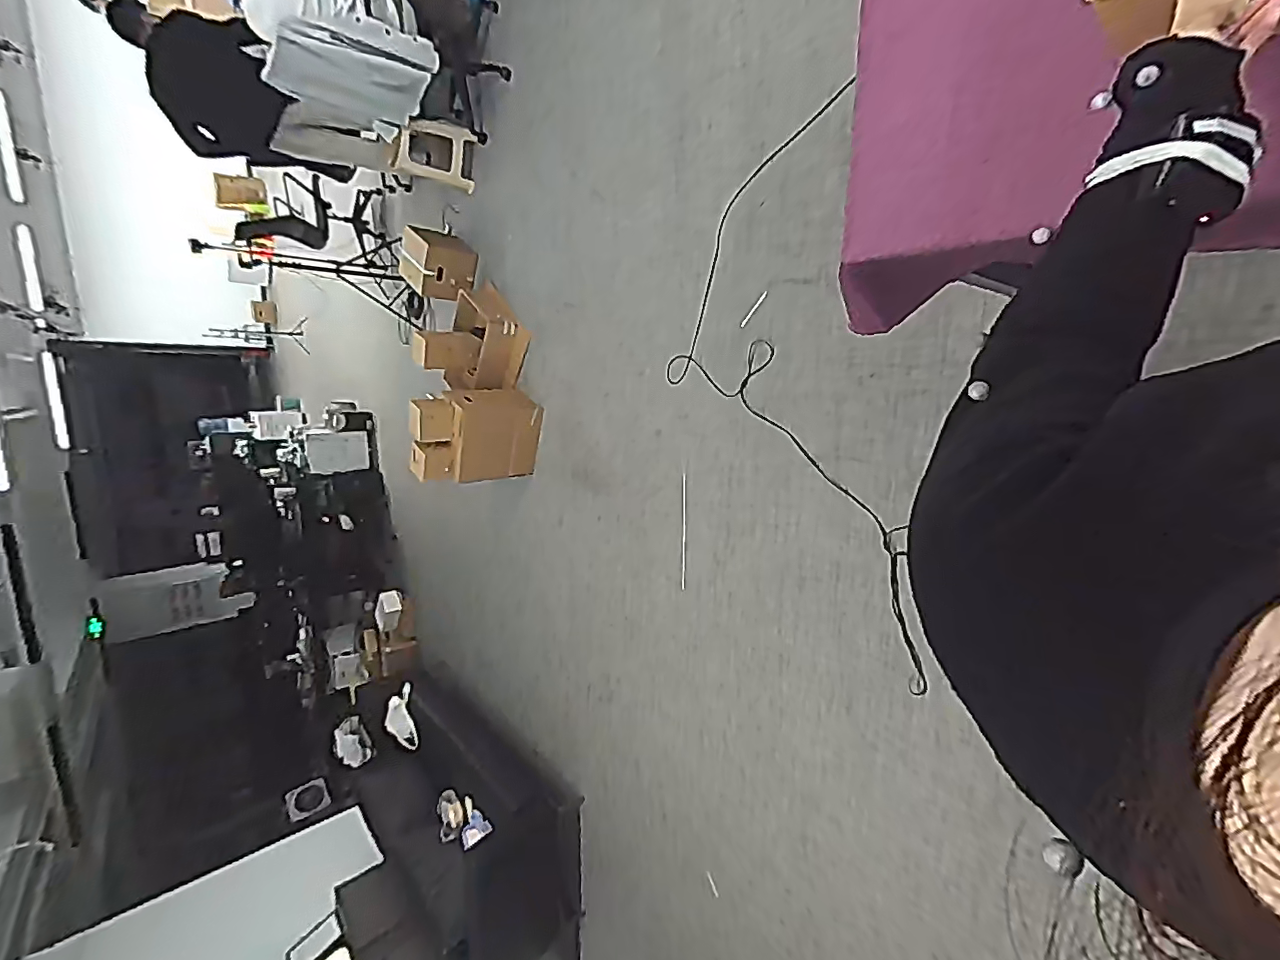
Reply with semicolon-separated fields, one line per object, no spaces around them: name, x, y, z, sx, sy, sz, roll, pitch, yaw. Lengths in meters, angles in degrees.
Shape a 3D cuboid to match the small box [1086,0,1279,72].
small box;0.521;-0.505;0.468;0.168;0.176;0.179;18;109;46
